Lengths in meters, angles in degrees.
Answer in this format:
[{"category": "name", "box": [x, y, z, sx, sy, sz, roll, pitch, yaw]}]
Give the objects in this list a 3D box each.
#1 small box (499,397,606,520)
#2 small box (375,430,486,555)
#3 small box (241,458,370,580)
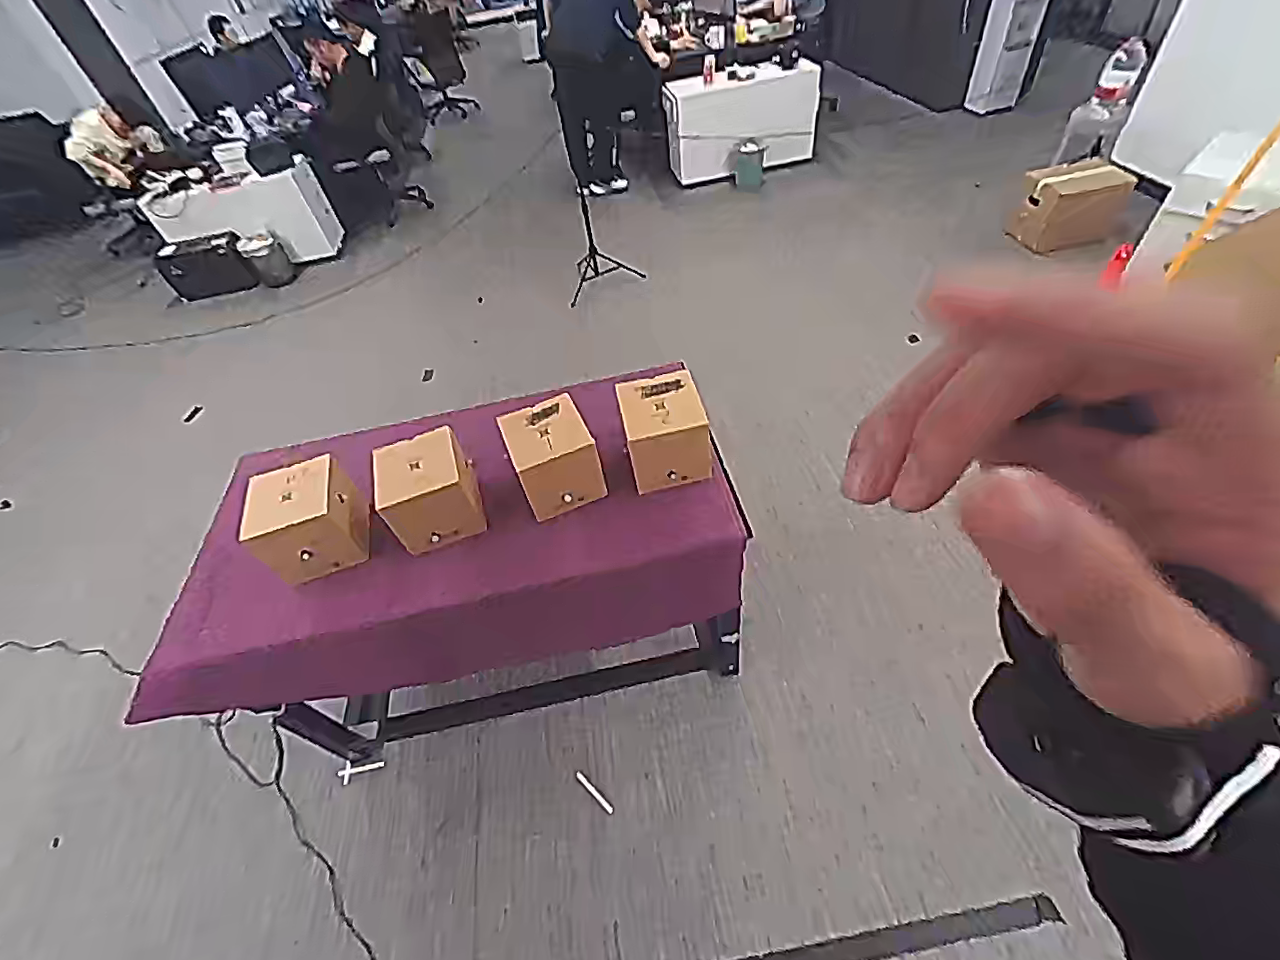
[{"category": "small box", "box": [-0.187, -0.045, 1.170, 0.168, 0.176, 0.179, -22, 50, -10]}, {"category": "small box", "box": [-0.443, 0.028, 1.150, 0.168, 0.176, 0.179, -20, 48, -8]}, {"category": "small box", "box": [-0.689, 0.089, 1.135, 0.168, 0.176, 0.179, -18, 48, -8]}]
